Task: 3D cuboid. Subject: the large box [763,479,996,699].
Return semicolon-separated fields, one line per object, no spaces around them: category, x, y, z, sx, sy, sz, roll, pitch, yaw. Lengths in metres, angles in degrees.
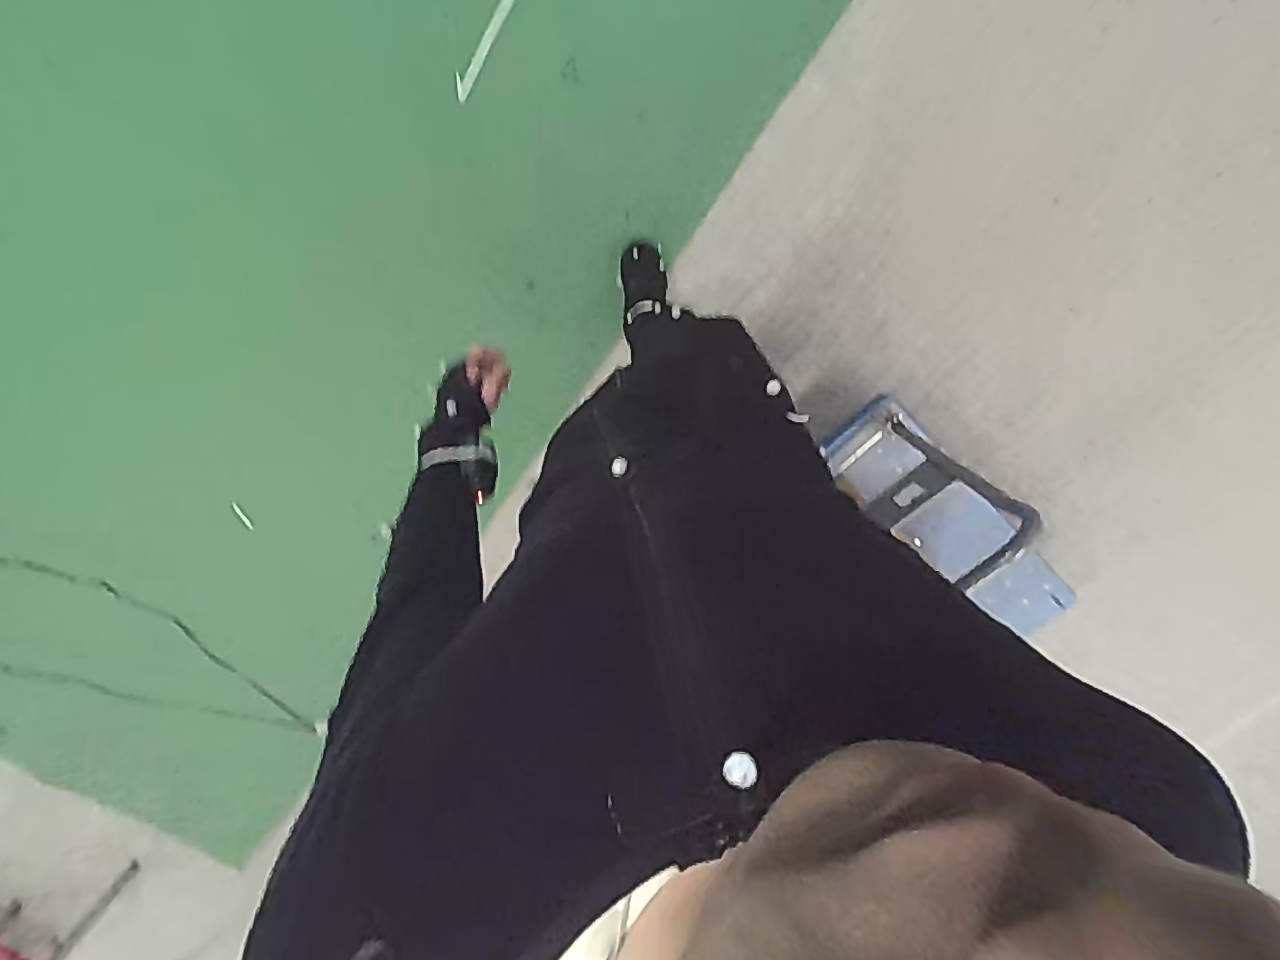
large box;0.587;0.267;1.398;0.408;0.320;0.320;40;108;-12
